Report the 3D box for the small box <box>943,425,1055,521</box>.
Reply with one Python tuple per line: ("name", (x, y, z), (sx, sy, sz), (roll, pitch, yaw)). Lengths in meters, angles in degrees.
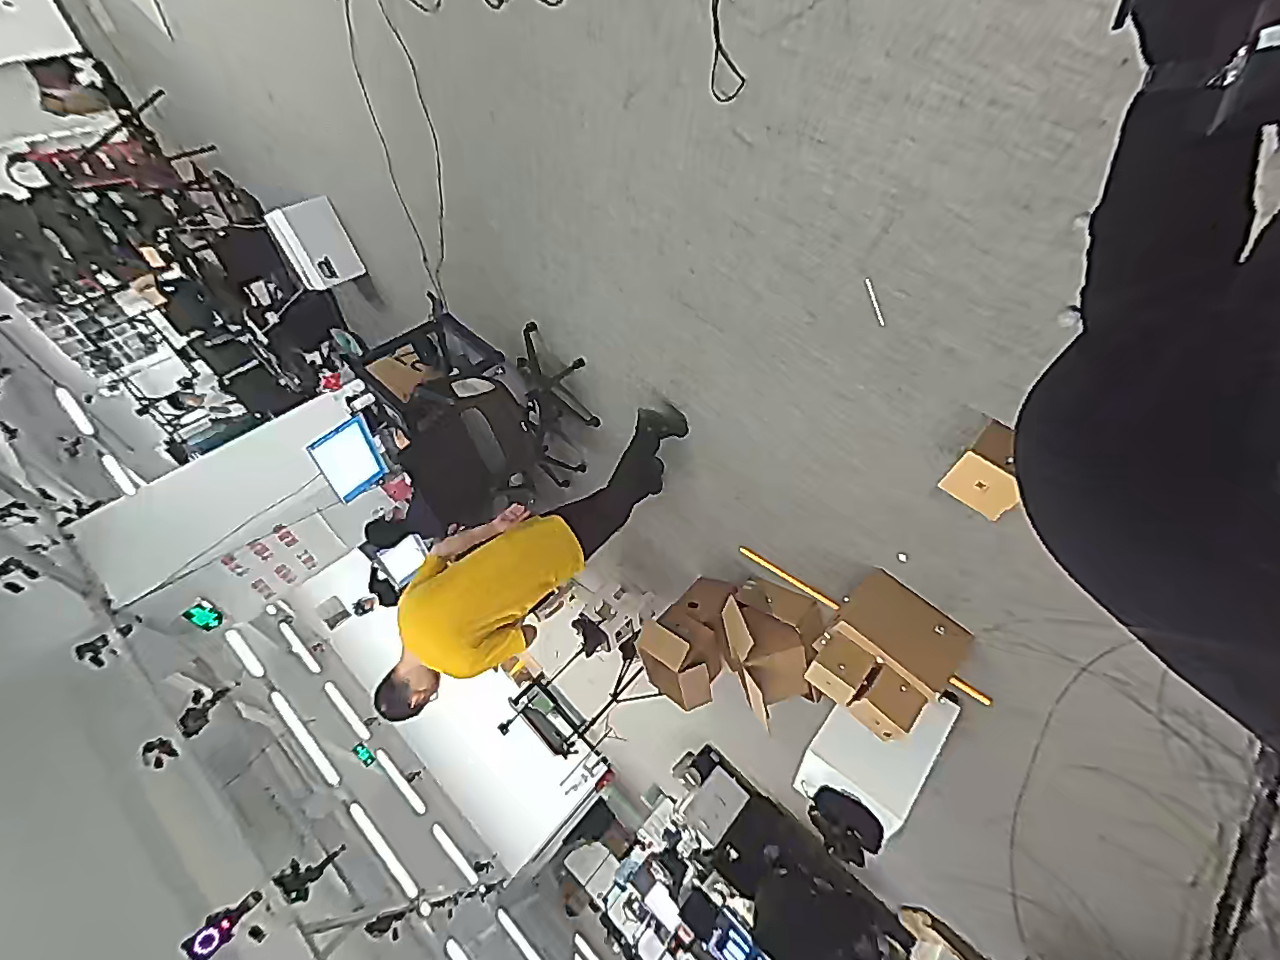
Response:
("small box", (0.991, -0.028, 1.497), (0.179, 0.176, 0.168), (37, 149, 20))
